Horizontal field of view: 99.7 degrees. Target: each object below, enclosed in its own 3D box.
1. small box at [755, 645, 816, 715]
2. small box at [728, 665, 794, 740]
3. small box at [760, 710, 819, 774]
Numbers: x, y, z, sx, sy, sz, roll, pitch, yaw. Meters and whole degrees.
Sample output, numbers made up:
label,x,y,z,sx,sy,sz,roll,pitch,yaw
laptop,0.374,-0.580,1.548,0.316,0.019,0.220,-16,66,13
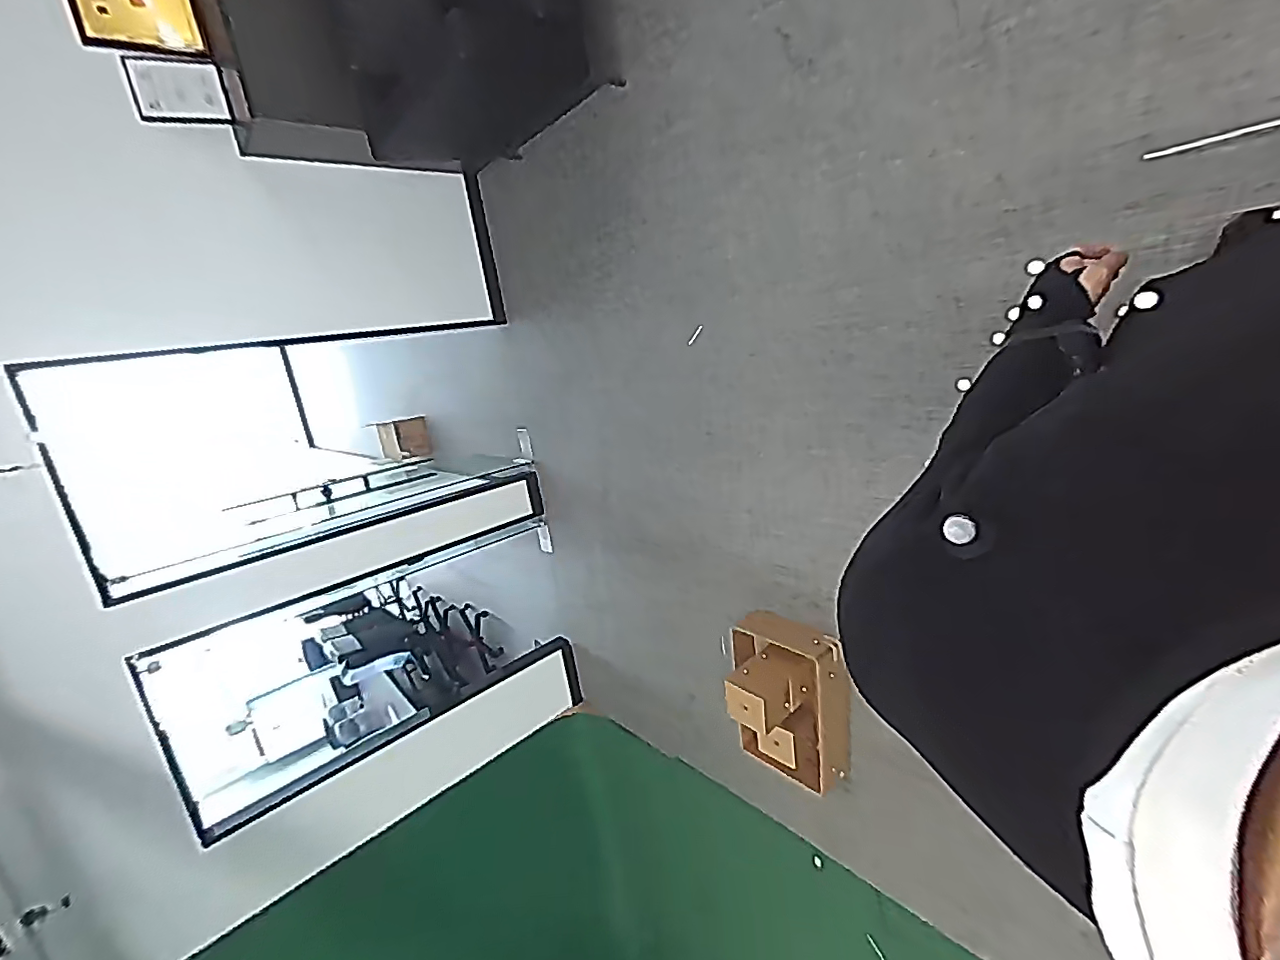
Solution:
label,x,y,z,sx,sy,sz,roll,pitch,yaw
small box,0.571,0.768,2.098,0.179,0.176,0.168,7,111,48
small box,0.449,0.813,1.998,0.179,0.176,0.168,10,114,46
small box,0.601,1.021,2.160,0.179,0.176,0.168,7,109,47
